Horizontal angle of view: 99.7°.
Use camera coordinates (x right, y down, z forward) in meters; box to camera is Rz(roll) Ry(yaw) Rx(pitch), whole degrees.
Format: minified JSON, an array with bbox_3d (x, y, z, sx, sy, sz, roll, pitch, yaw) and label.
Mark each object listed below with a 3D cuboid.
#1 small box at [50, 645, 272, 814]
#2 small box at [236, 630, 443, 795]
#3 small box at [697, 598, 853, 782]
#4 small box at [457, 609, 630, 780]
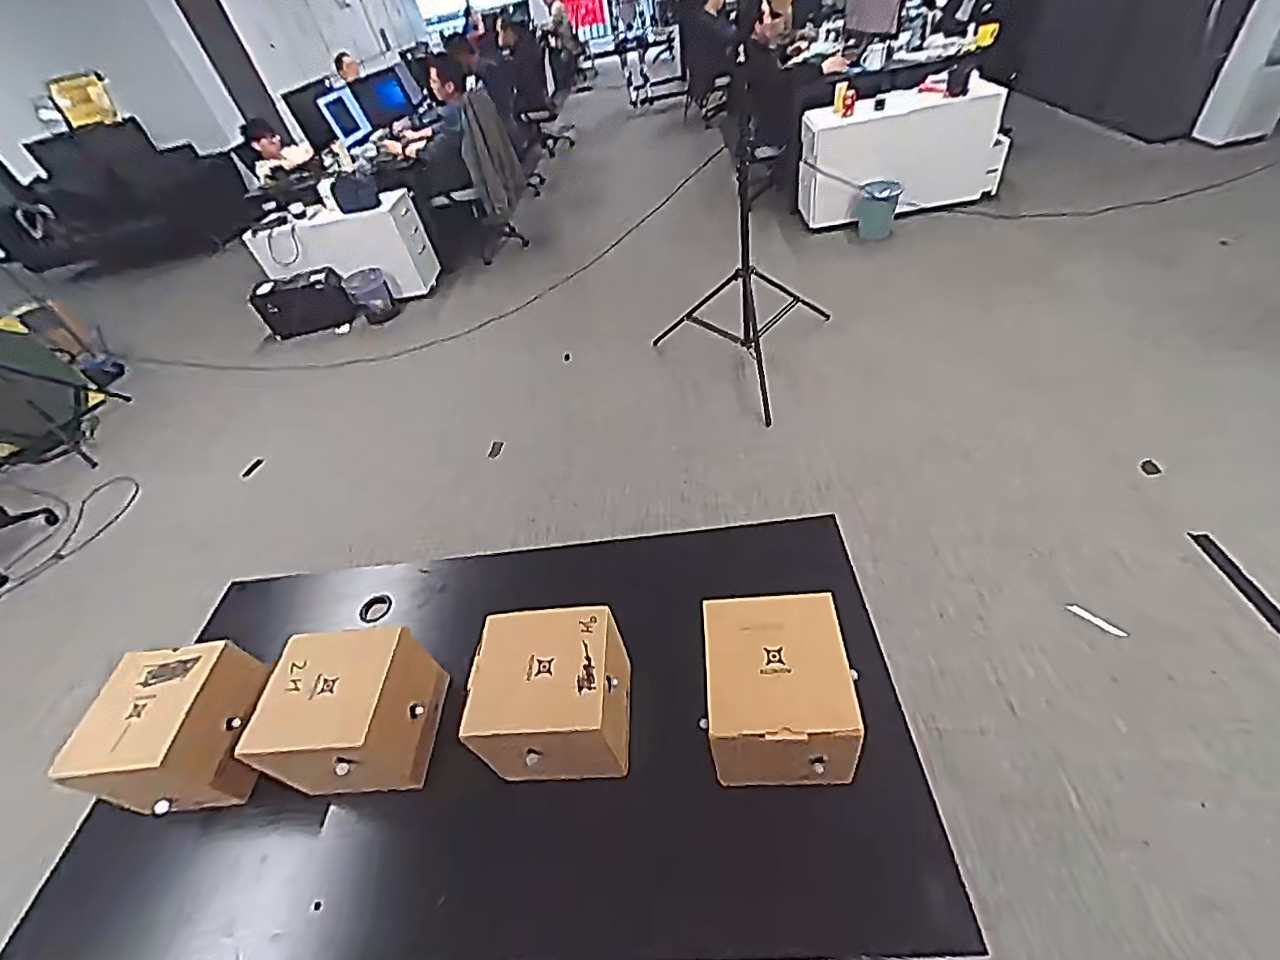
[{"bbox_3d":[-0.672,0.371,0.804,0.168,0.176,0.179,-9,45,5],"label":"small box"},{"bbox_3d":[-0.409,0.336,0.776,0.179,0.176,0.168,-7,44,6],"label":"small box"},{"bbox_3d":[0.167,0.277,0.701,0.168,0.176,0.179,-5,43,8],"label":"small box"},{"bbox_3d":[-0.119,0.299,0.746,0.179,0.176,0.168,-7,44,8],"label":"small box"}]
